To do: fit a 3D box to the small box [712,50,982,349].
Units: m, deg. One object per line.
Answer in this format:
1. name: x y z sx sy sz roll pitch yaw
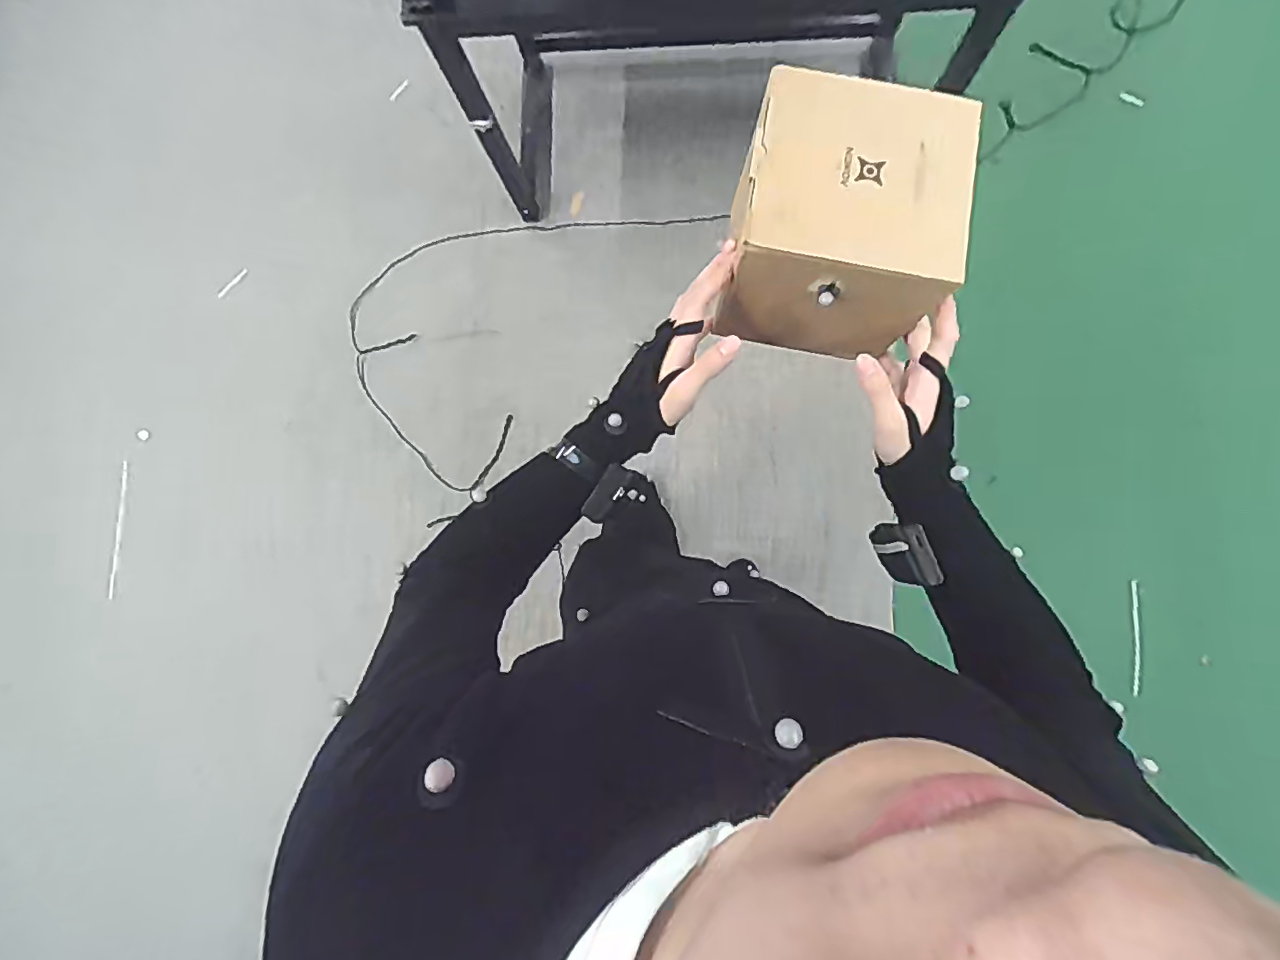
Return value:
1. small box: 0.170 -0.236 0.495 0.179 0.176 0.168 11 81 1
